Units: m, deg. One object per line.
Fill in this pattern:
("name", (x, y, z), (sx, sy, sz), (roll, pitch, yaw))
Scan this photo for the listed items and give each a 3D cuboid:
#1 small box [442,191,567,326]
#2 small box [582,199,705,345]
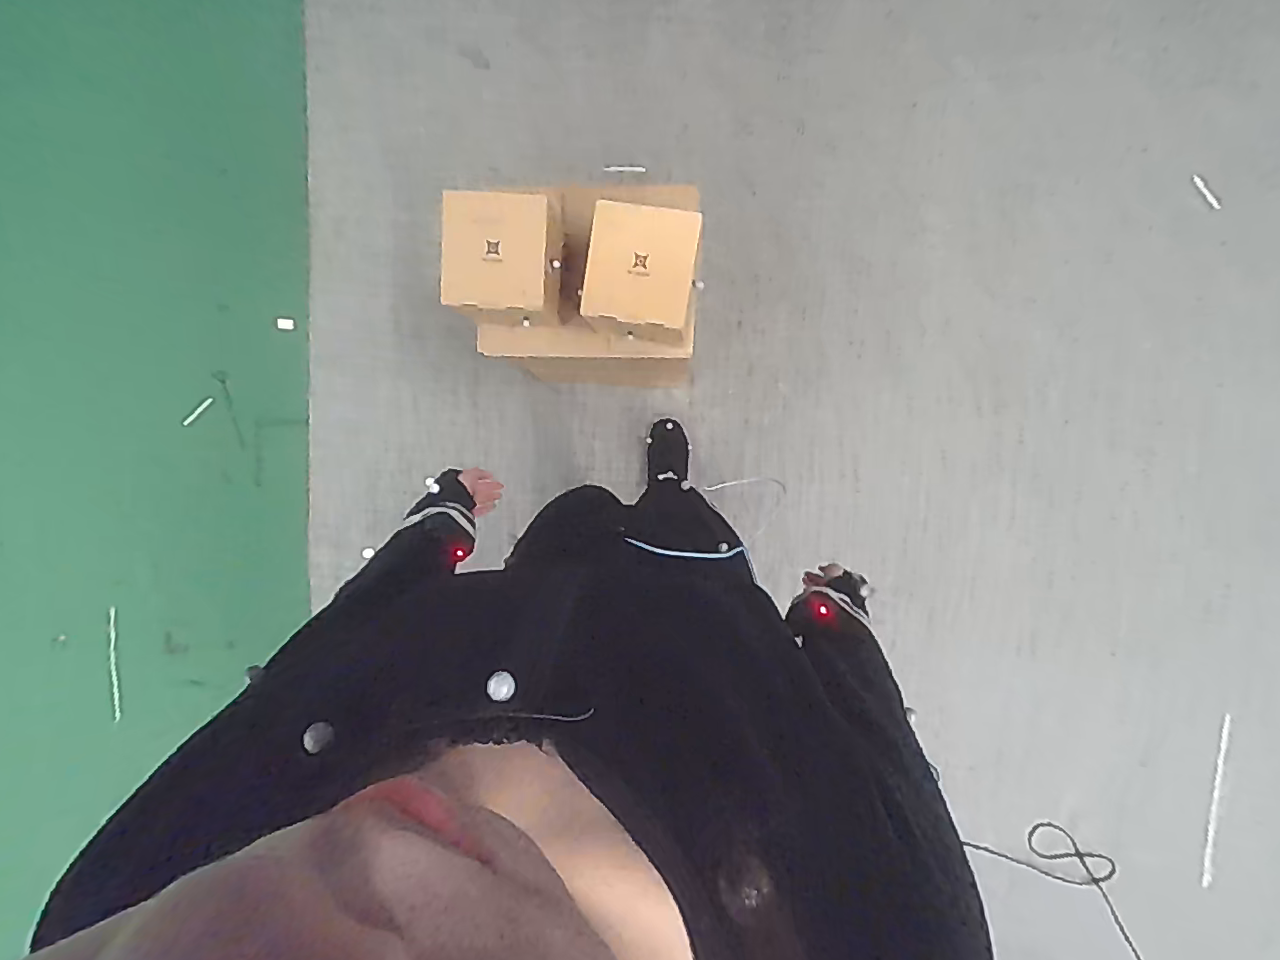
("small box", (-0.222, -0.365, 0.921), (0.168, 0.176, 0.179), (4, 97, 2))
("small box", (0.010, -0.335, 0.902), (0.168, 0.176, 0.179), (10, 97, 5))
